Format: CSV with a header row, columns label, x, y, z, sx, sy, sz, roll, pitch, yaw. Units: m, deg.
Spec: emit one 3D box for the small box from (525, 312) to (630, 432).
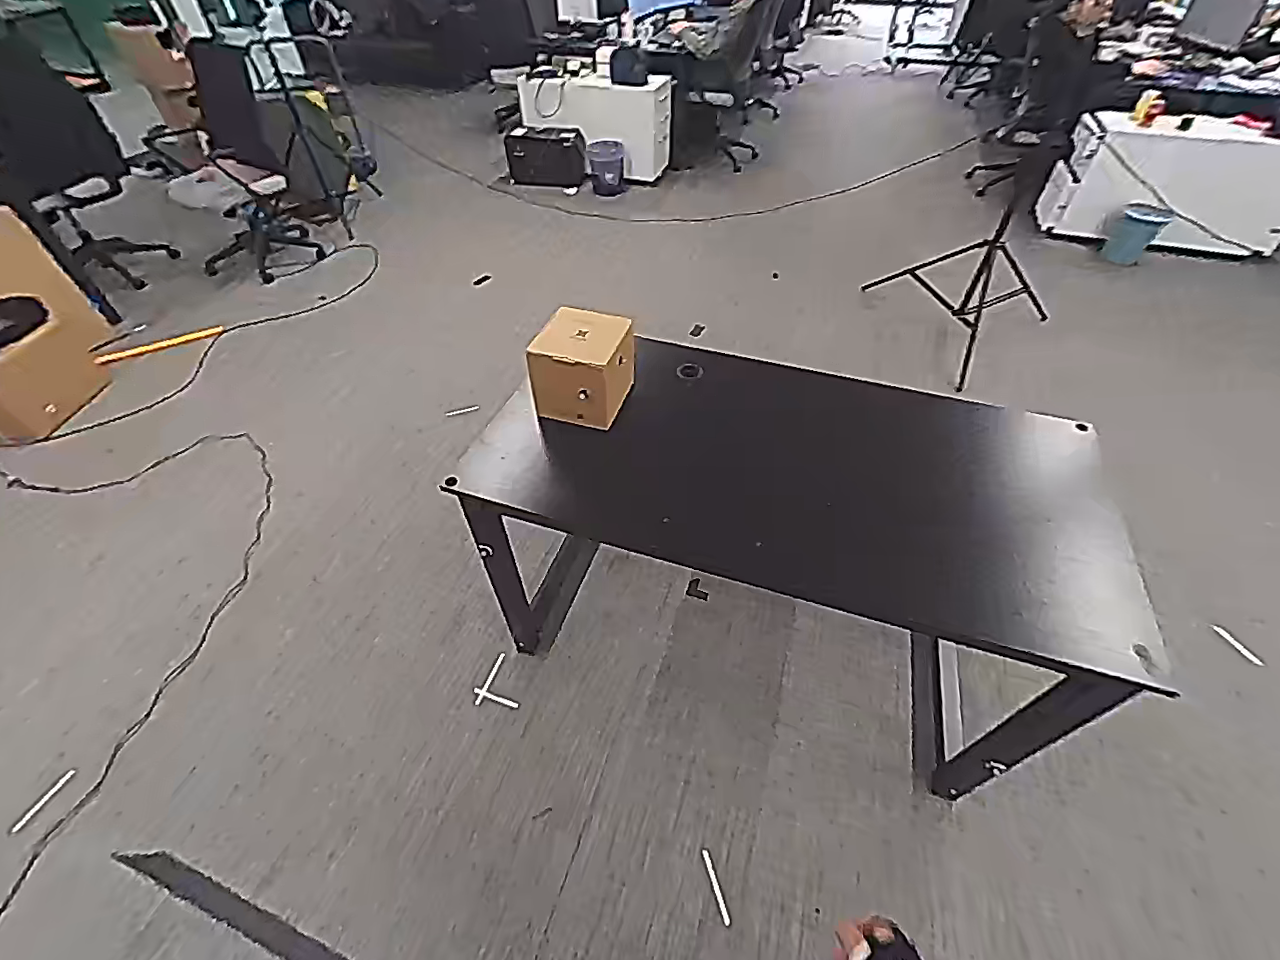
label,x,y,z,sx,sy,sz,roll,pitch,yaw
small box,-0.123,-0.227,1.149,0.168,0.176,0.179,14,48,11
